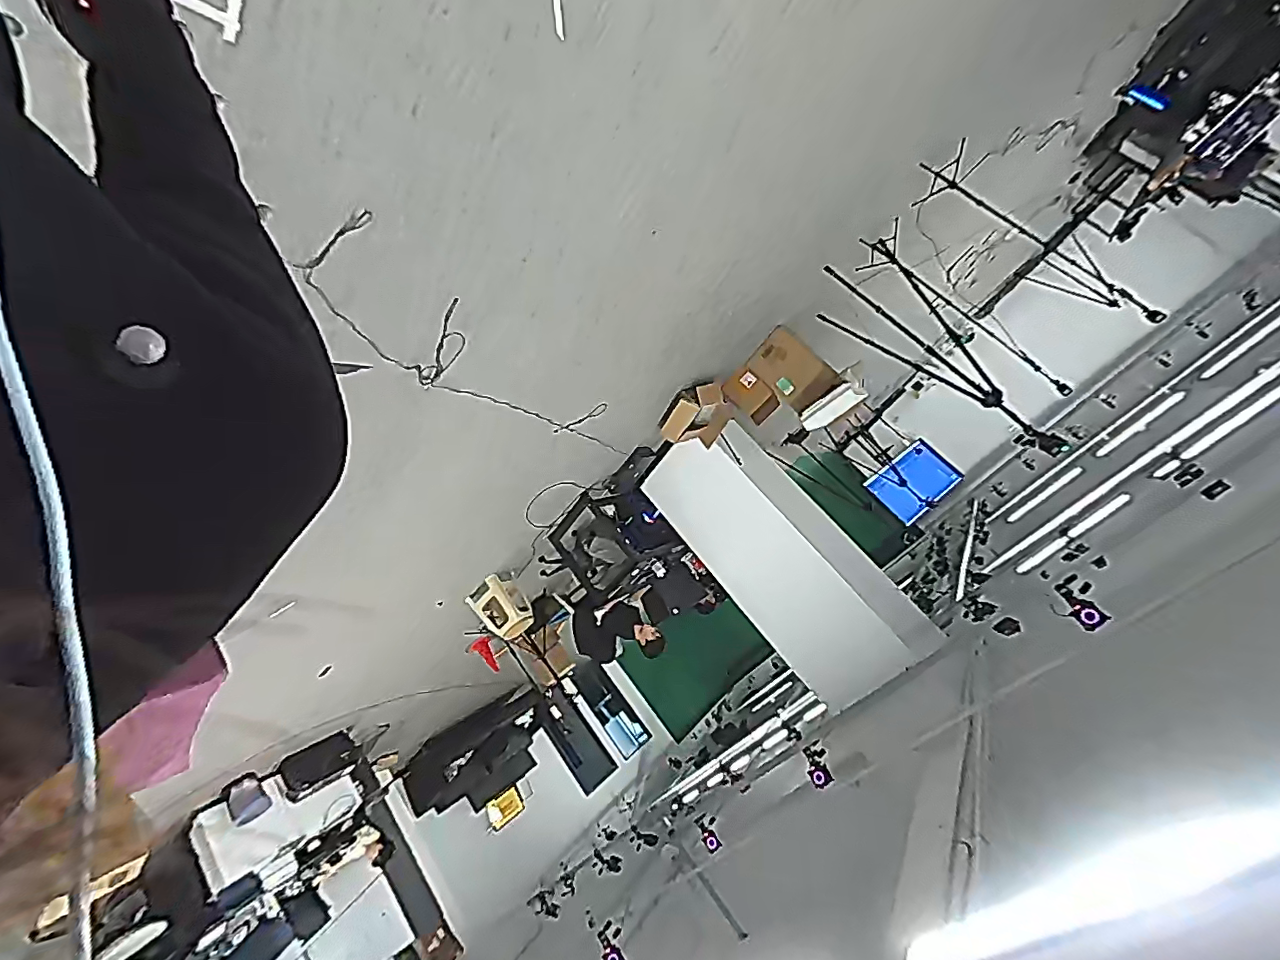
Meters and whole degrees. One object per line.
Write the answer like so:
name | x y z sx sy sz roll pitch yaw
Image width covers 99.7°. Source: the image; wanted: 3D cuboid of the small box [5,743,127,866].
small box | -1.440 0.803 1.353 0.168 0.176 0.179 -49 160 25
